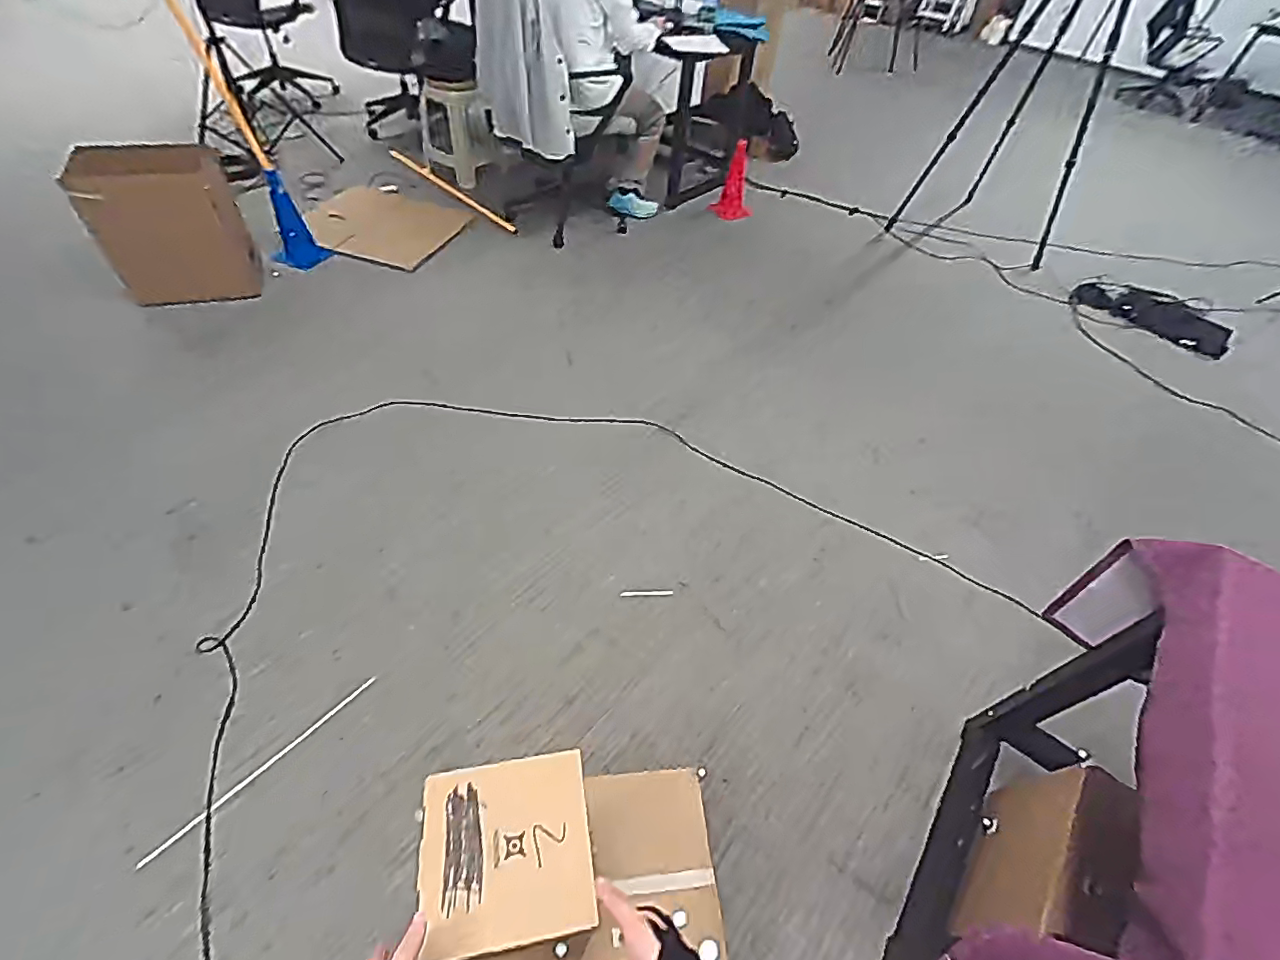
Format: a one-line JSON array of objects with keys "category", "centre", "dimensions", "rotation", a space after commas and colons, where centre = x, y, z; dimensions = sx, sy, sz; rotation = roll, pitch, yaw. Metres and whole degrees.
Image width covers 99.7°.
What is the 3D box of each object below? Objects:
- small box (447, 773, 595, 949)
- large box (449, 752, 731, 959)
[{"category": "small box", "centre": [-0.160, 0.529, 0.755], "dimensions": [0.179, 0.176, 0.168], "rotation": [-5, 50, -9]}, {"category": "large box", "centre": [-0.095, 0.698, 0.942], "dimensions": [0.408, 0.320, 0.320], "rotation": [-1, 52, -8]}]
